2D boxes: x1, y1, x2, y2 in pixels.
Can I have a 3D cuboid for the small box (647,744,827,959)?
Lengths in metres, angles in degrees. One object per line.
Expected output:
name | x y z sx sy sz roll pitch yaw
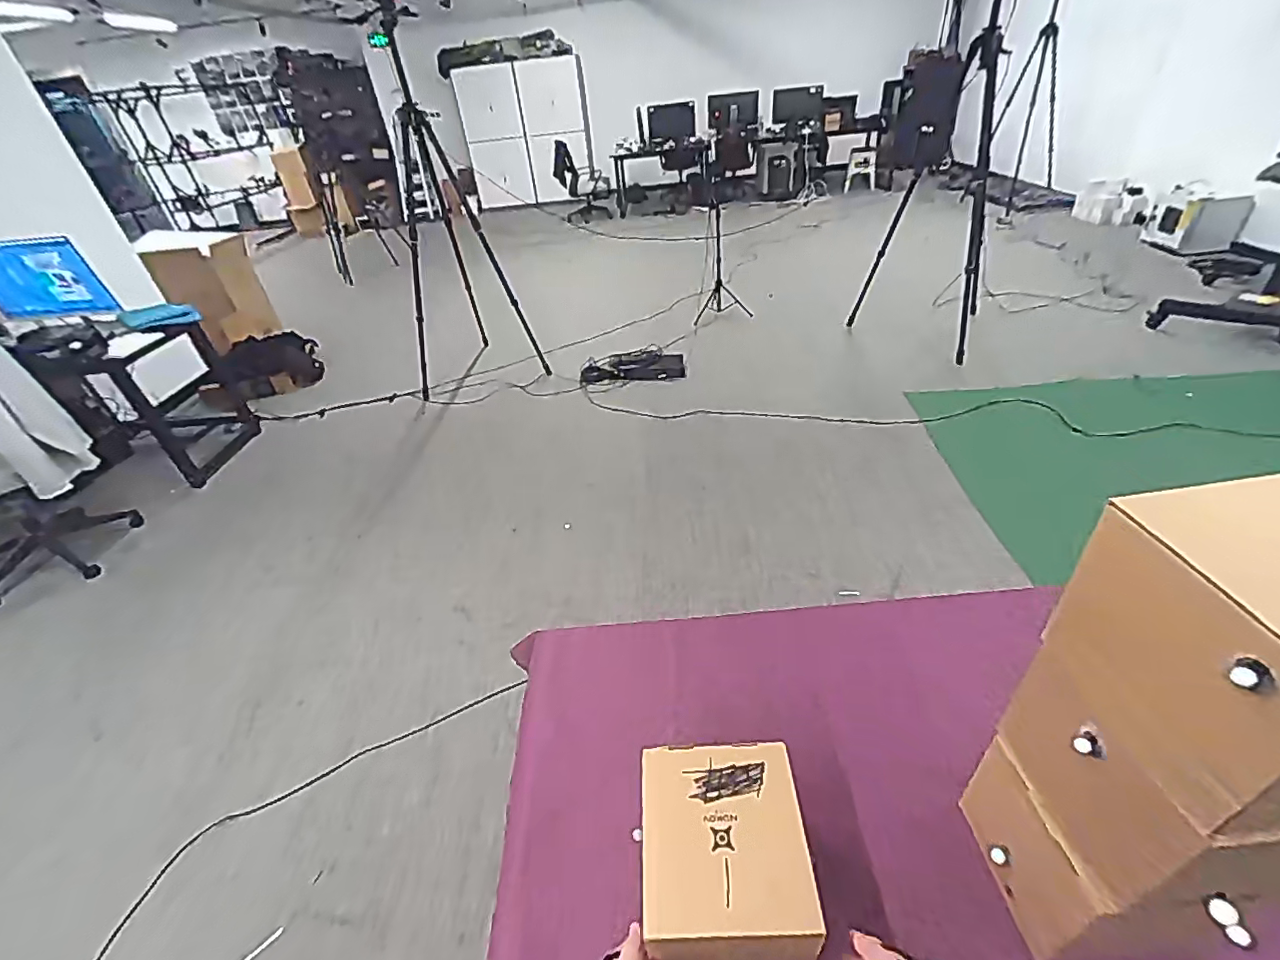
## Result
small box | 0.095 0.423 0.601 0.168 0.176 0.179 -5 37 4

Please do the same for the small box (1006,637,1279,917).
small box | 0.473 0.254 0.485 0.168 0.176 0.179 -7 37 2

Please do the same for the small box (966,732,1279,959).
small box | 0.492 0.385 0.579 0.179 0.176 0.168 -6 36 2

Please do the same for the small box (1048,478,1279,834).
small box | 0.452 0.121 0.394 0.168 0.176 0.179 -8 37 0
